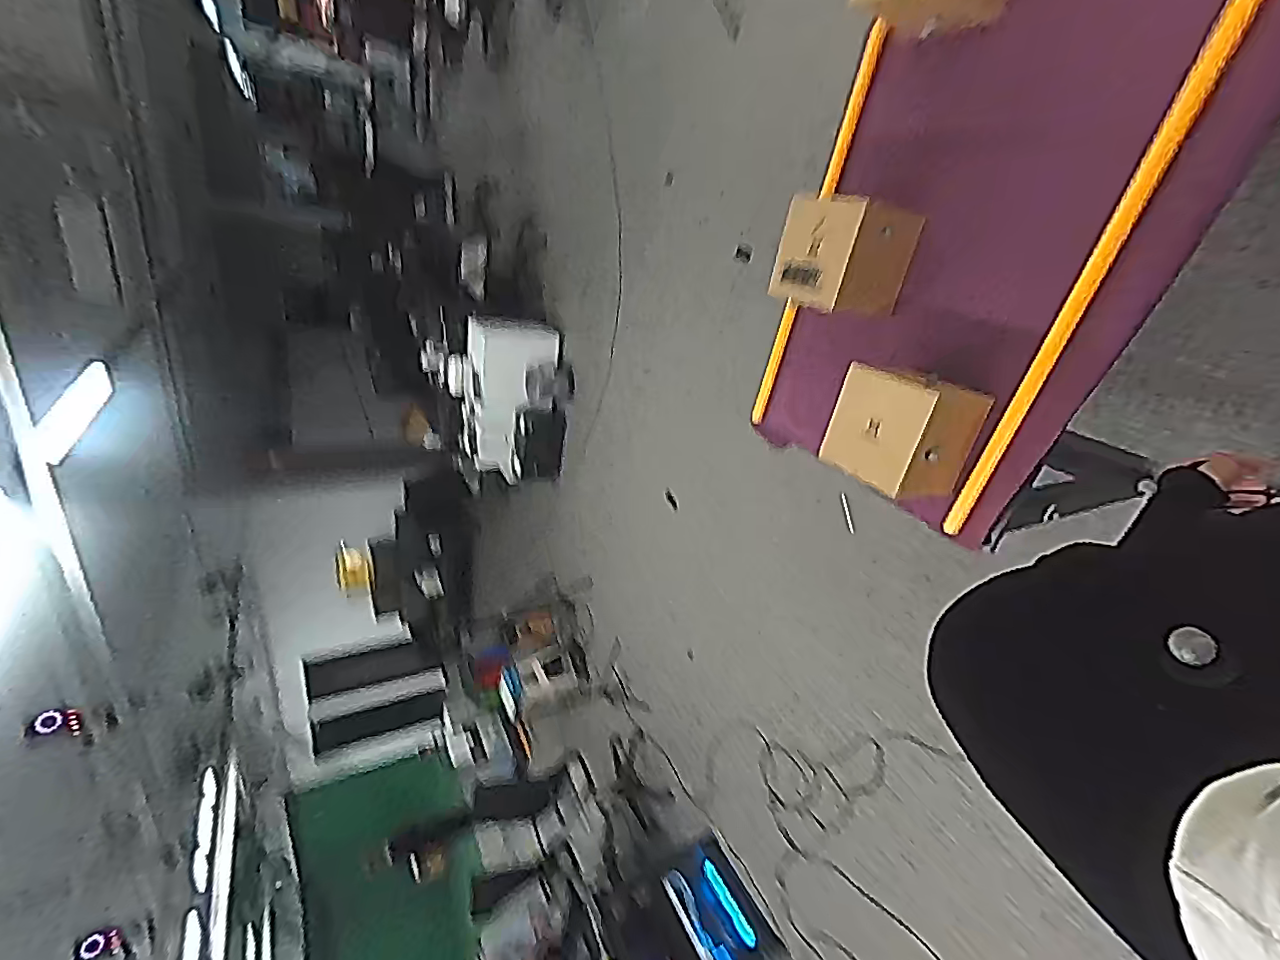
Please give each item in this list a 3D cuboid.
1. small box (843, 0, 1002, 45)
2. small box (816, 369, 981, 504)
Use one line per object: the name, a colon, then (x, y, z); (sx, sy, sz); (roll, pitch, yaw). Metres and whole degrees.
small box: (0.443, -0.793, 0.805); (0.168, 0.176, 0.179); (39, 128, 49)
small box: (0.441, -0.079, 0.922); (0.168, 0.176, 0.179); (42, 128, 49)
